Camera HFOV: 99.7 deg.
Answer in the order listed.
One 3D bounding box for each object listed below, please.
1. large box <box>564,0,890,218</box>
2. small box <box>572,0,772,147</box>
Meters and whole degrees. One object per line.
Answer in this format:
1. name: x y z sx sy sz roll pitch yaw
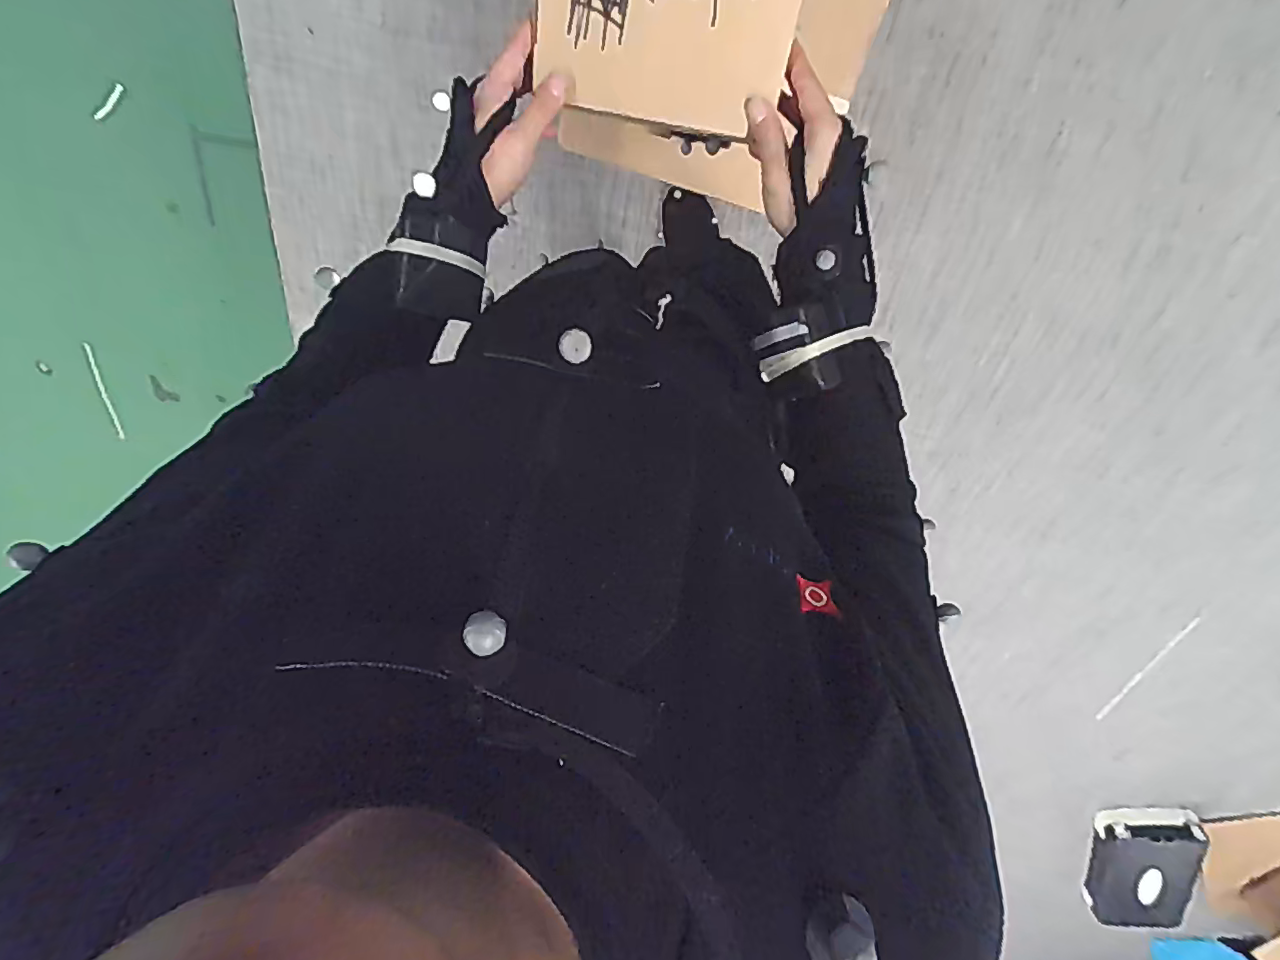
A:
1. large box: 0.123 -0.662 0.887 0.408 0.320 0.320 16 123 -2
2. small box: 0.040 -0.456 0.548 0.168 0.176 0.179 14 121 -1
